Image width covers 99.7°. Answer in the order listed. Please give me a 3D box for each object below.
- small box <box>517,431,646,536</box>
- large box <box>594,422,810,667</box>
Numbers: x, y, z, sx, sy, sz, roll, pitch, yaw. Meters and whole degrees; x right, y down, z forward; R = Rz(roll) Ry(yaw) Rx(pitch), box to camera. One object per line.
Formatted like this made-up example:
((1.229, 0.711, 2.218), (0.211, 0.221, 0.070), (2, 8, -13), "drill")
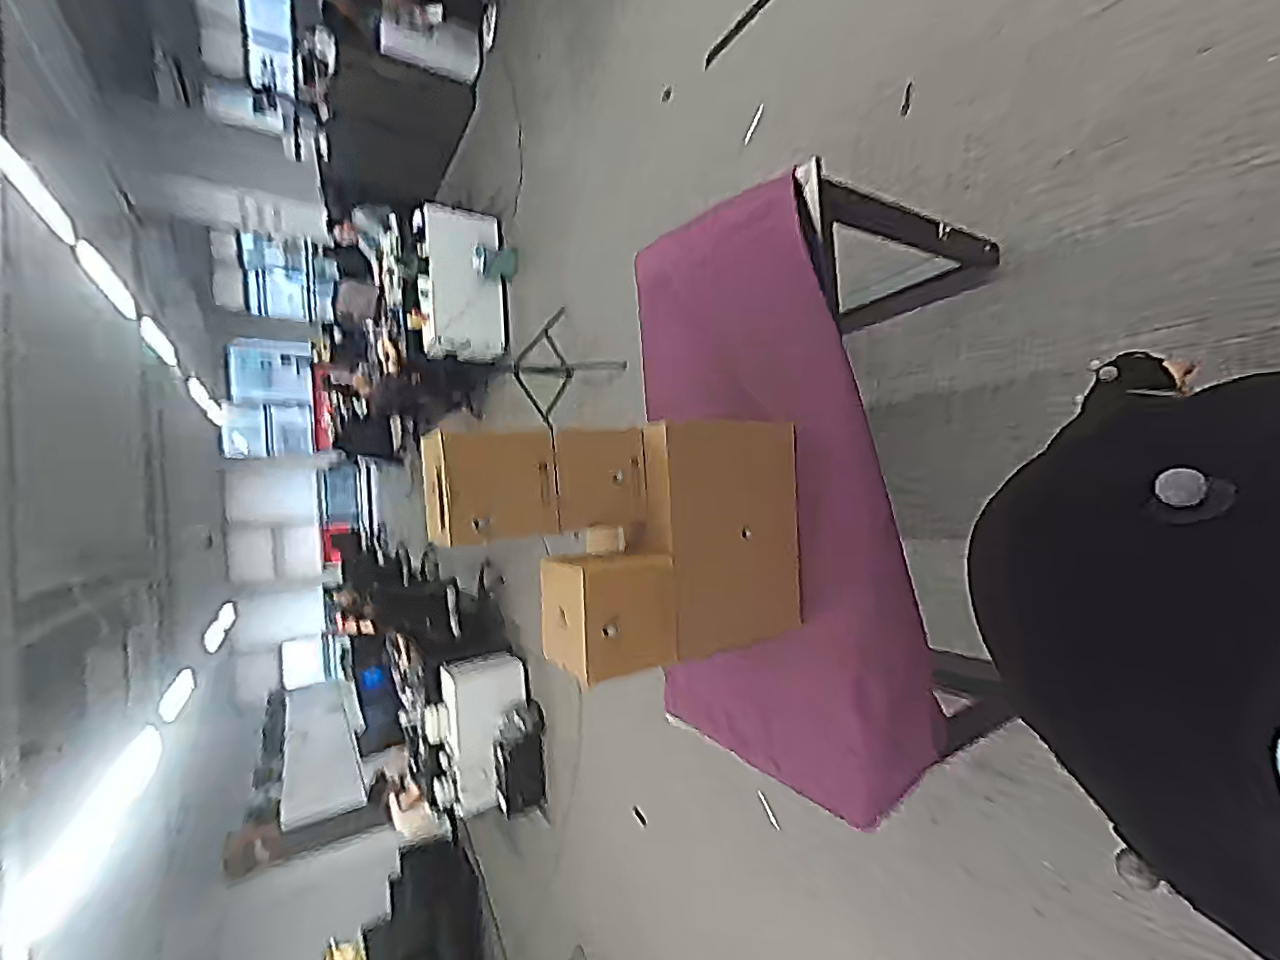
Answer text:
((-0.106, 0.004, 0.955), (0.179, 0.176, 0.168), (-3, 92, 58), "small box")
((0.109, 0.103, 1.086), (0.320, 0.320, 0.408), (-3, 91, 60), "large box")
